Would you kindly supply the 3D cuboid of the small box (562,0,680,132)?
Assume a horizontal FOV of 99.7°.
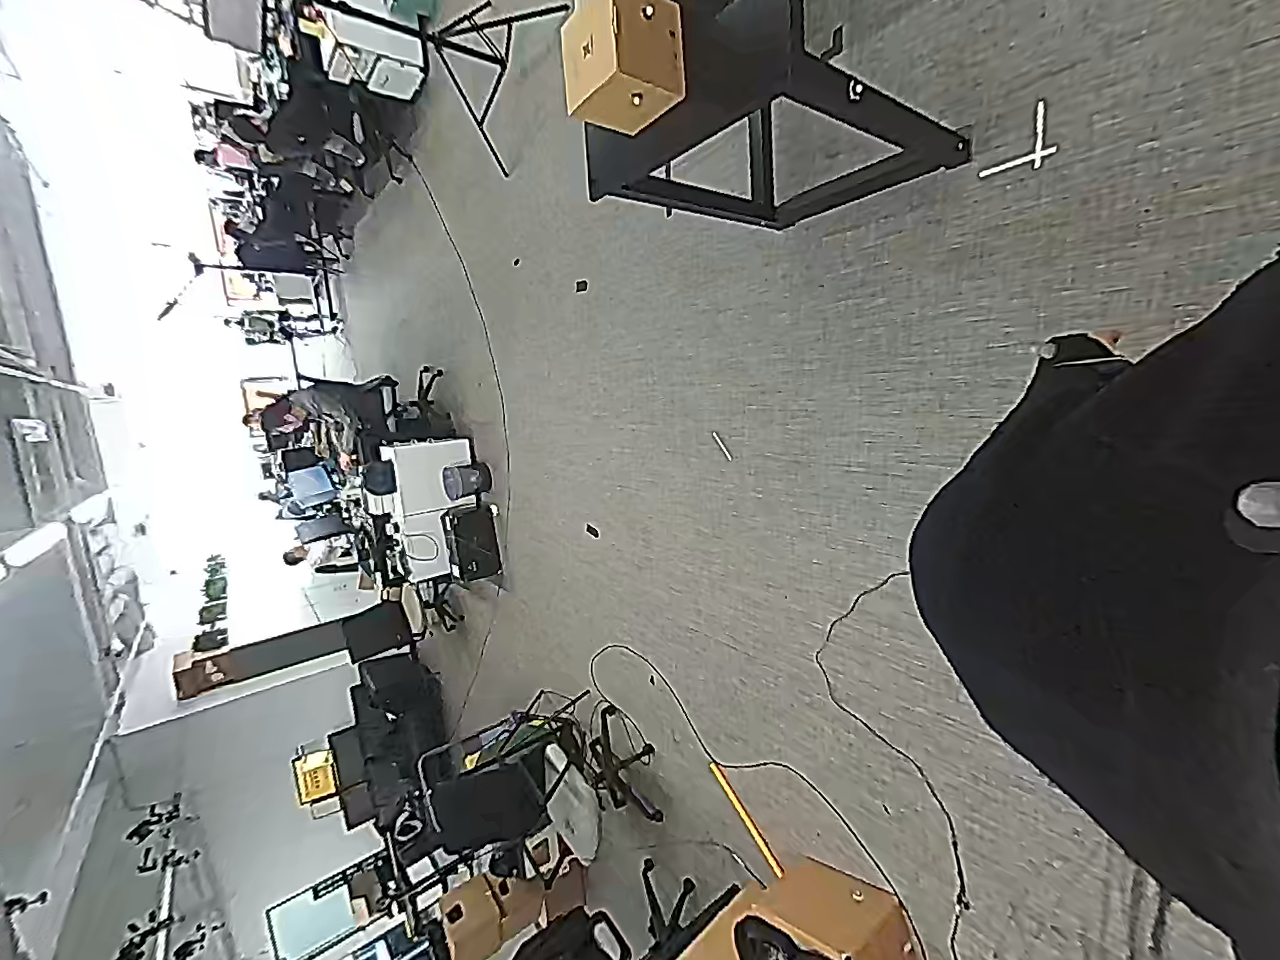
[{"bbox_3d":[-0.032,-0.824,1.062,0.179,0.176,0.168,5,102,53],"label":"small box"}]
